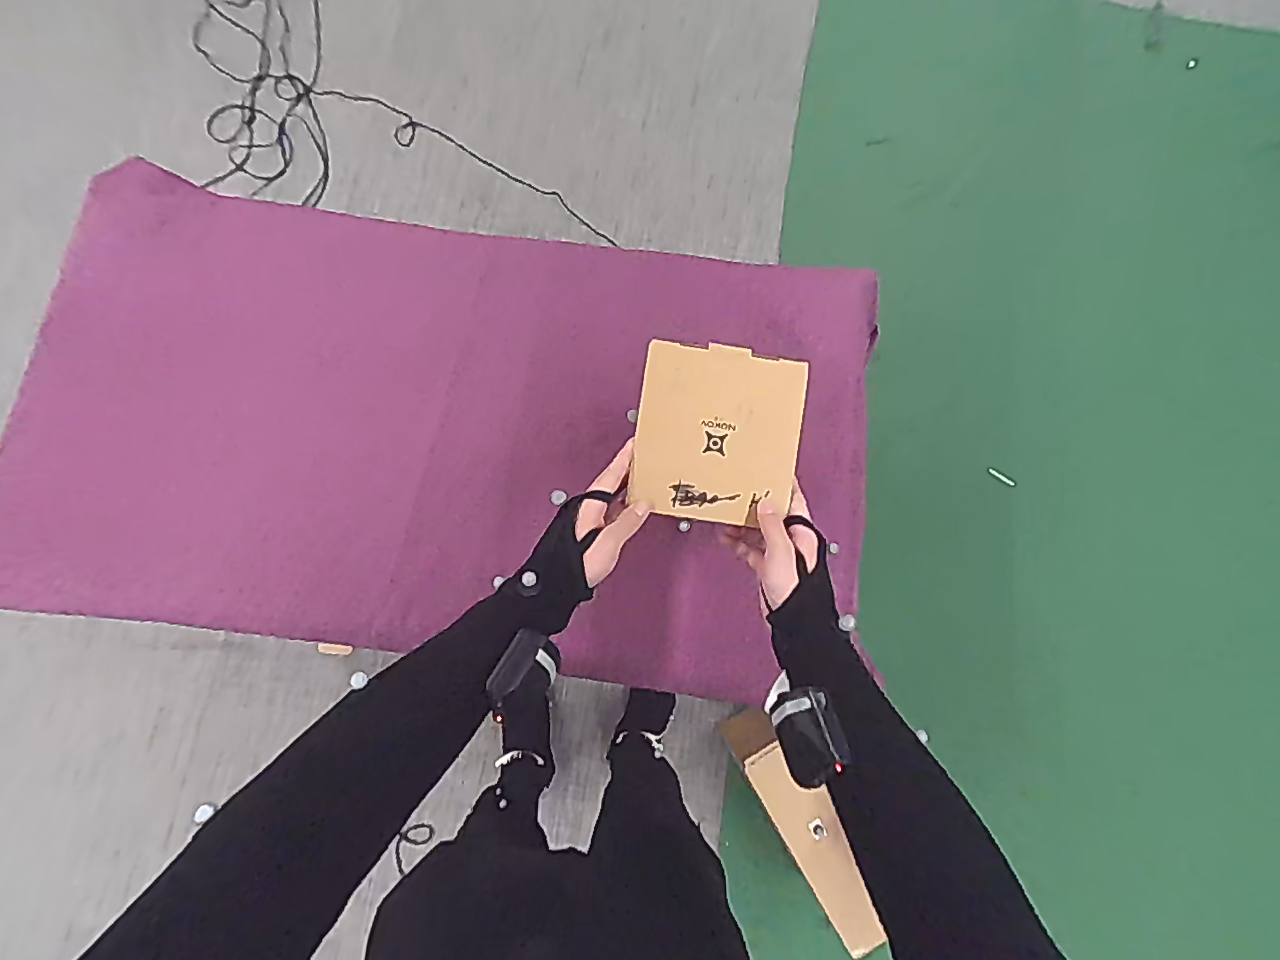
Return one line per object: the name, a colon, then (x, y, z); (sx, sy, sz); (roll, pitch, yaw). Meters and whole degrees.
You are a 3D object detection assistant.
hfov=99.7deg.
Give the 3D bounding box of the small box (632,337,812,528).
small box: (0.083, -0.046, 0.628); (0.168, 0.176, 0.179); (9, 88, 0)
